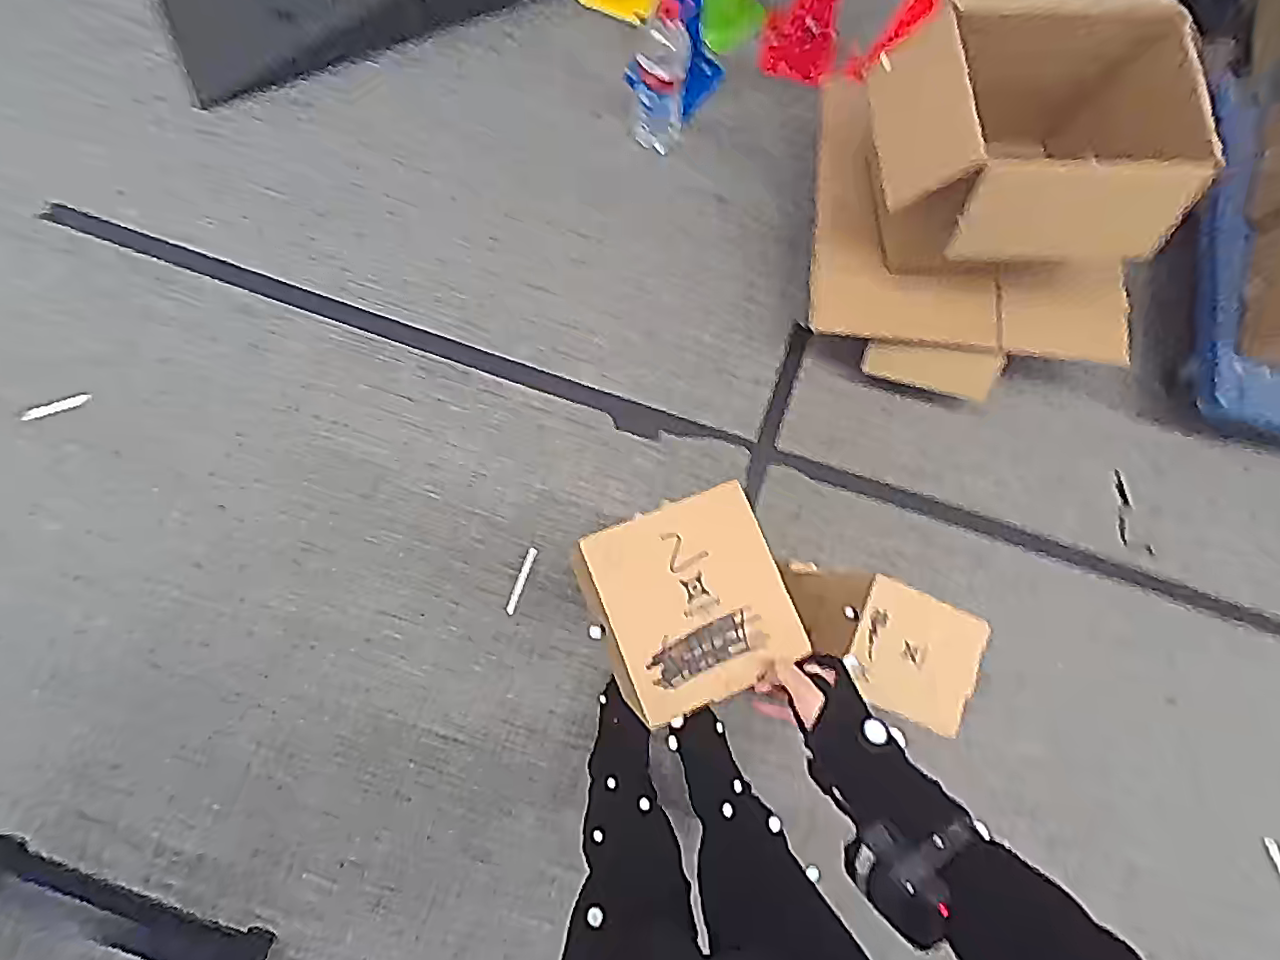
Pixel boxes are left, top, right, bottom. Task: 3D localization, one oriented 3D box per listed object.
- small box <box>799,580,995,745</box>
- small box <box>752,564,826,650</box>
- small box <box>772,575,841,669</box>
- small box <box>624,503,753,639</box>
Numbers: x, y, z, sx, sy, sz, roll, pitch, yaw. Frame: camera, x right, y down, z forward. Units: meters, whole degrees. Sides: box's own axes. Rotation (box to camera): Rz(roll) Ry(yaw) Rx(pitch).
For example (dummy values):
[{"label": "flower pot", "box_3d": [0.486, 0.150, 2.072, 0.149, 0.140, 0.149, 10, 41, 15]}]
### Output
[{"label": "small box", "box_3d": [0.370, 0.255, 0.806, 0.179, 0.176, 0.168, 25, 80, -1]}, {"label": "small box", "box_3d": [0.349, 0.285, 1.133, 0.168, 0.176, 0.179, 20, 80, -1]}, {"label": "small box", "box_3d": [0.359, 0.278, 0.968, 0.179, 0.176, 0.168, 22, 81, -1]}, {"label": "small box", "box_3d": [0.078, 0.162, 0.970, 0.168, 0.176, 0.179, 25, 79, -2]}]
